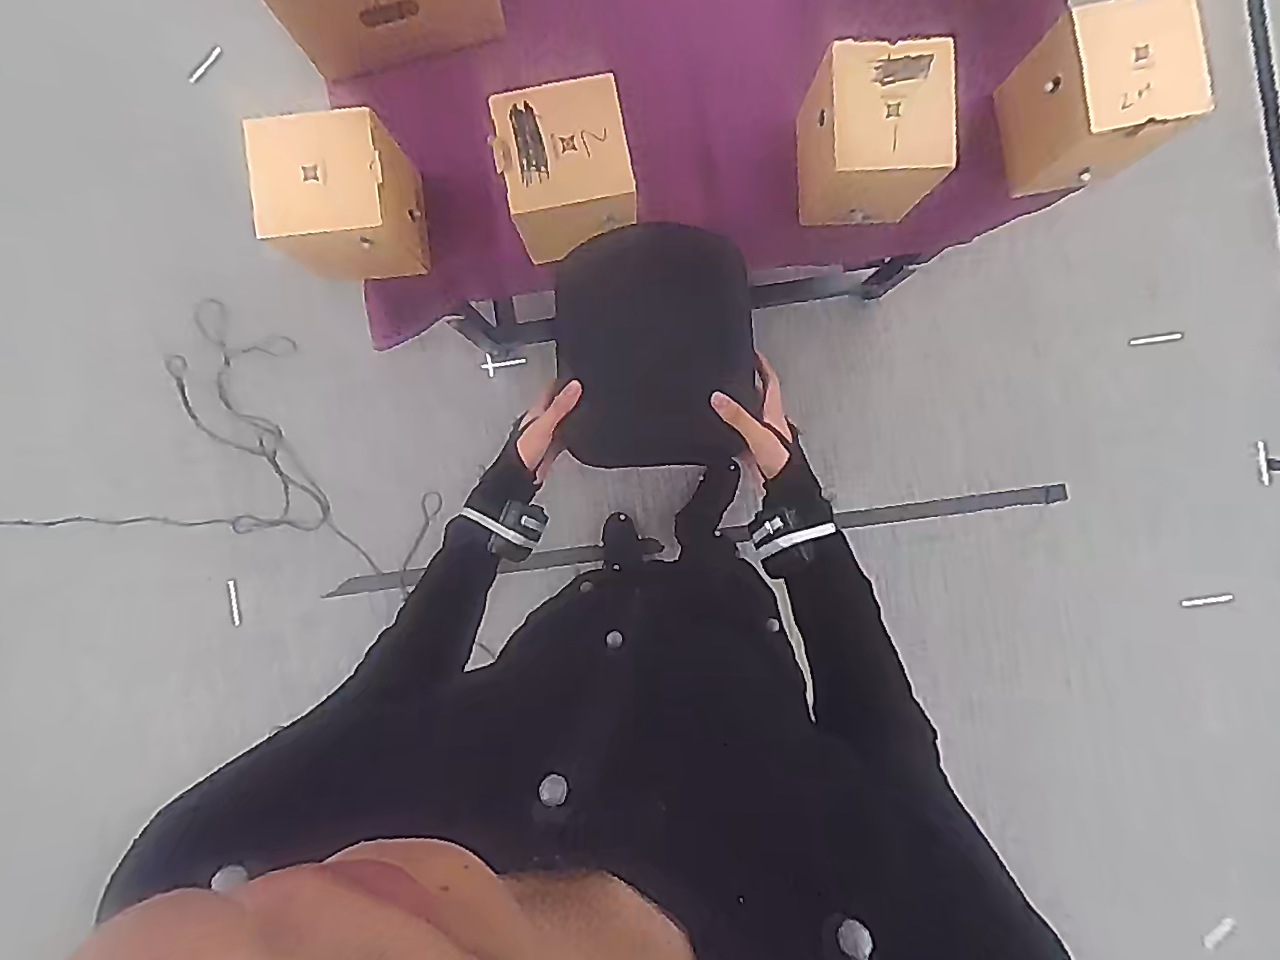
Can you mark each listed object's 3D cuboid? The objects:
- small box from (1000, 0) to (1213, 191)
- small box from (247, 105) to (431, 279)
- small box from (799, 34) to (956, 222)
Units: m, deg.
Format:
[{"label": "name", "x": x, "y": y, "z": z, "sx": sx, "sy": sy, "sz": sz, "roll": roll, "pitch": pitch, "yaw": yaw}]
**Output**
[{"label": "small box", "x": 0.669, "y": -0.566, "z": 0.799, "sx": 0.168, "sy": 0.176, "sz": 0.179, "roll": -9, "pitch": 91, "yaw": 2}, {"label": "small box", "x": -0.437, "y": -0.416, "z": 0.810, "sx": 0.179, "sy": 0.176, "sz": 0.168, "roll": -7, "pitch": 91, "yaw": -1}, {"label": "small box", "x": 0.341, "y": -0.510, "z": 0.804, "sx": 0.168, "sy": 0.176, "sz": 0.179, "roll": -2, "pitch": 92, "yaw": 1}]
